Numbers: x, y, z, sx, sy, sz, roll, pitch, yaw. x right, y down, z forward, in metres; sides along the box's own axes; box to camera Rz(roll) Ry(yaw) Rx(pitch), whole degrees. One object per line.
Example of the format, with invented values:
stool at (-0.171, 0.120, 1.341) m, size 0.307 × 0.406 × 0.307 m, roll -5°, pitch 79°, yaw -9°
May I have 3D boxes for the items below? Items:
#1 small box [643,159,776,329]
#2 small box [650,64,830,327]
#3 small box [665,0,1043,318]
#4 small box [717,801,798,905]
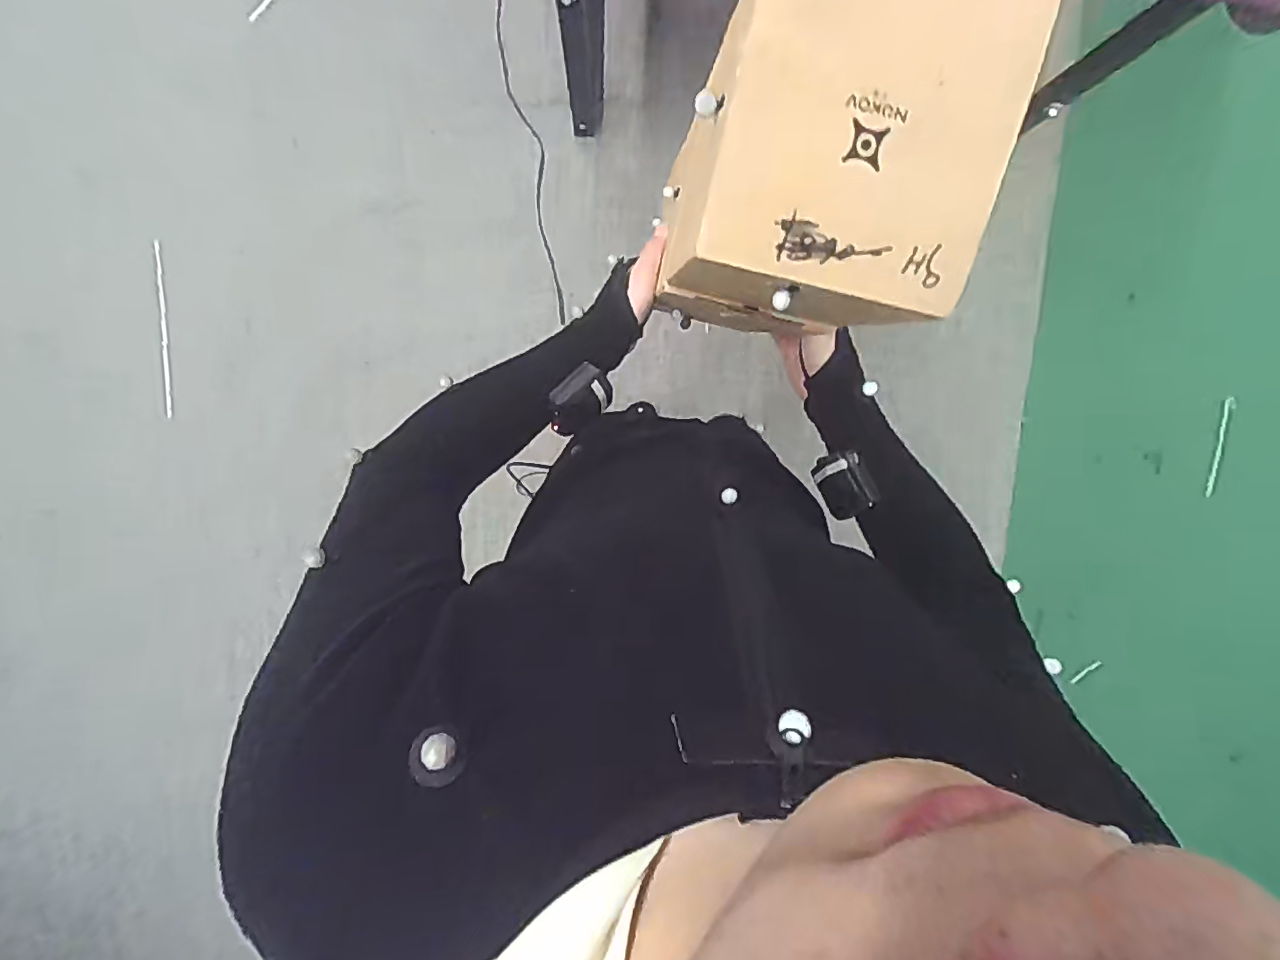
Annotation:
small box at (0.100, -0.299, 0.694) m, size 0.168 × 0.176 × 0.179 m, roll 12°, pitch 104°, yaw -6°
small box at (0.108, -0.256, 0.536) m, size 0.168 × 0.176 × 0.179 m, roll 12°, pitch 103°, yaw -6°
small box at (0.118, -0.221, 0.376) m, size 0.168 × 0.176 × 0.179 m, roll 11°, pitch 103°, yaw -5°
small box at (0.310, 1.012, 1.458) m, size 0.168 × 0.176 × 0.179 m, roll 8°, pitch 98°, yaw -2°
